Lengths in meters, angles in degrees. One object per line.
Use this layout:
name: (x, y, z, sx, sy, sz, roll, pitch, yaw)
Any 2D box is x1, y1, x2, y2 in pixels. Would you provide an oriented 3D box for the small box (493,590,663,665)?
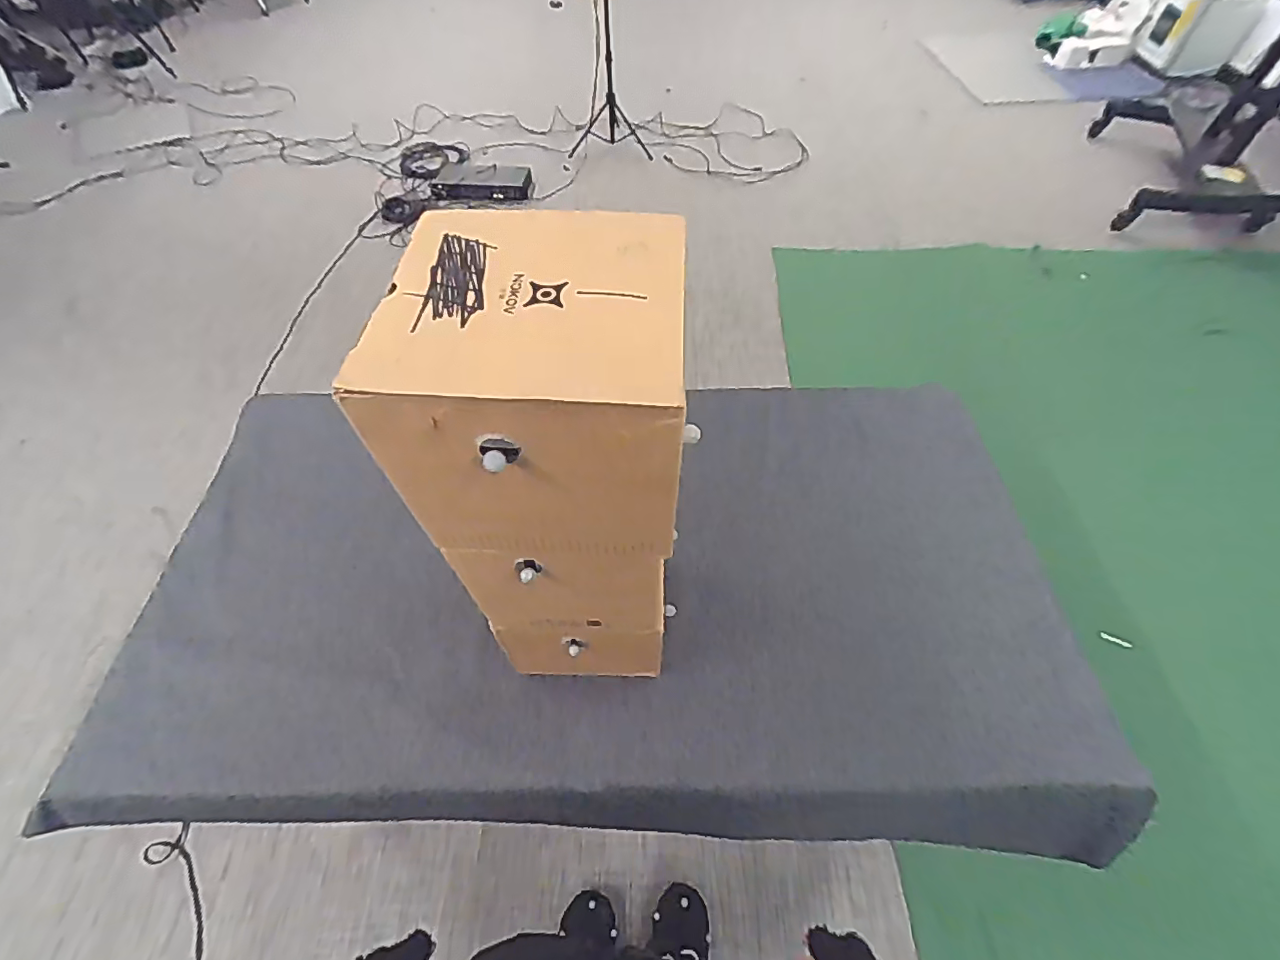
small box: (-0.061, 0.119, 0.656, 0.179, 0.176, 0.168, 1, 56, 1)

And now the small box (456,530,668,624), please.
small box: (-0.060, 0.026, 0.525, 0.168, 0.176, 0.179, 0, 56, 0)

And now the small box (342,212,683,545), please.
small box: (-0.062, -0.064, 0.384, 0.179, 0.176, 0.168, 3, 56, 2)
